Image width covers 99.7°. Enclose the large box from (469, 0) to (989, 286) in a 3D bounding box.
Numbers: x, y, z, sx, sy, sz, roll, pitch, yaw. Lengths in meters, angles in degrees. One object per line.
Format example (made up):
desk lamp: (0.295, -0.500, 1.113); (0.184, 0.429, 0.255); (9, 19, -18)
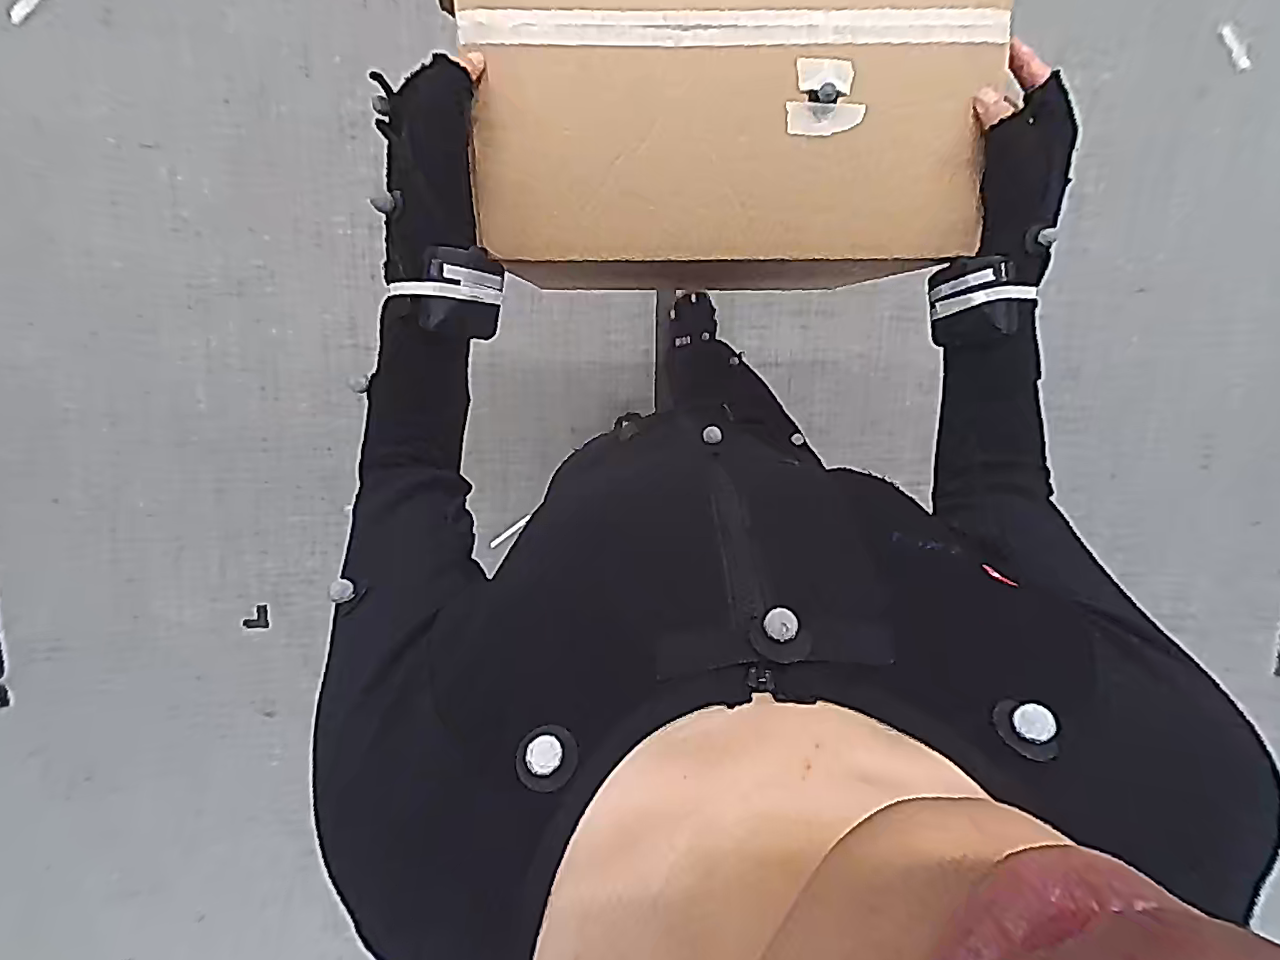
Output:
large box: (0.063, -0.381, 0.559); (0.408, 0.320, 0.320); (-1, 106, -2)
